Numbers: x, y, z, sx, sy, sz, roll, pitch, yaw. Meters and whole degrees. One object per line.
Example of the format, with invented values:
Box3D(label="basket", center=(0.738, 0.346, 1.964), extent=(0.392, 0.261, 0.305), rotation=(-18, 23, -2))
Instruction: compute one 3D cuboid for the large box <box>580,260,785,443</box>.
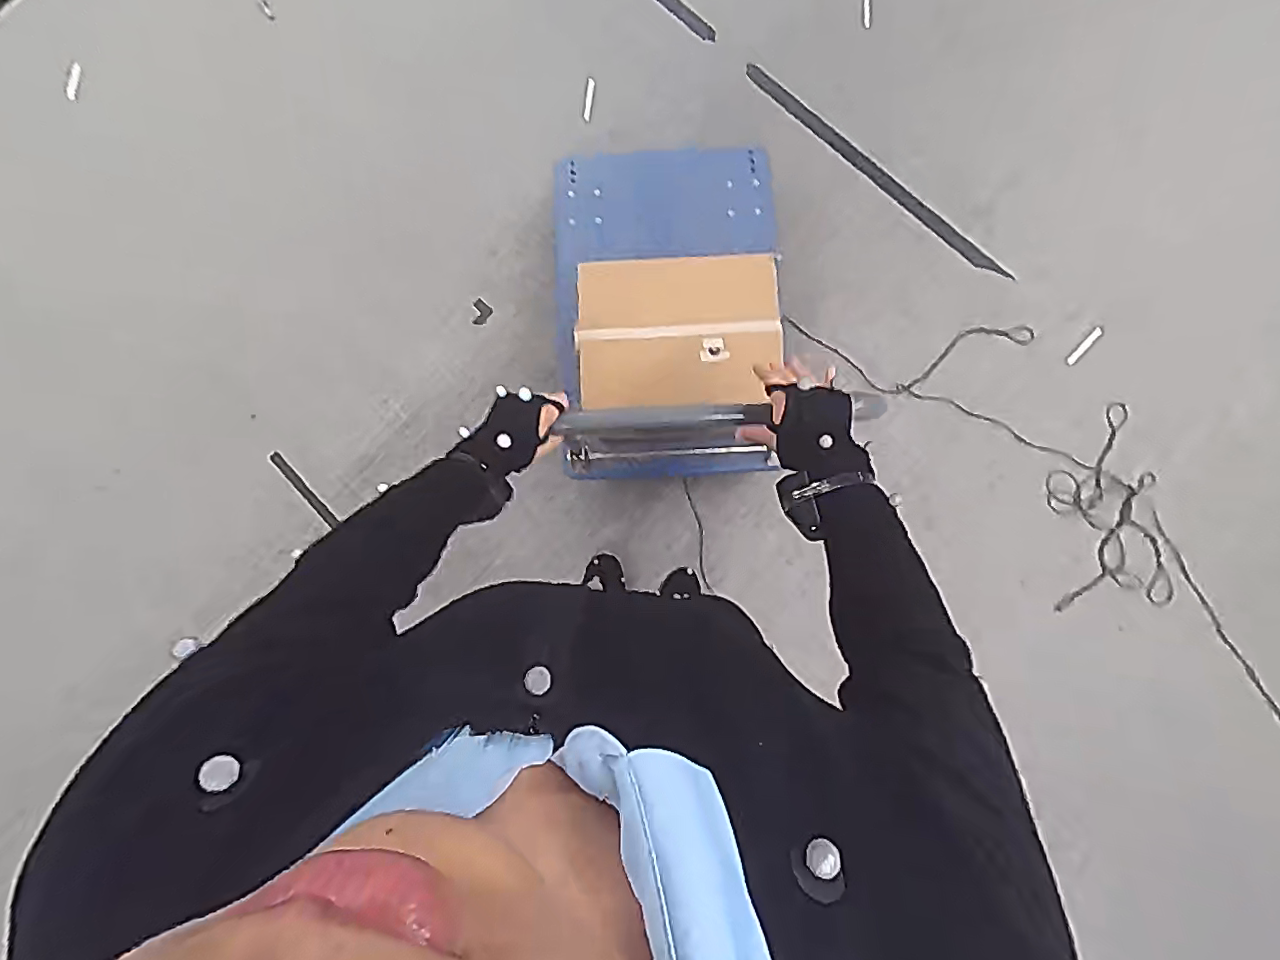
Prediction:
Box3D(label="large box", center=(0.082, -0.271, 1.236), extent=(0.408, 0.320, 0.320), rotation=(-2, 84, 0))
